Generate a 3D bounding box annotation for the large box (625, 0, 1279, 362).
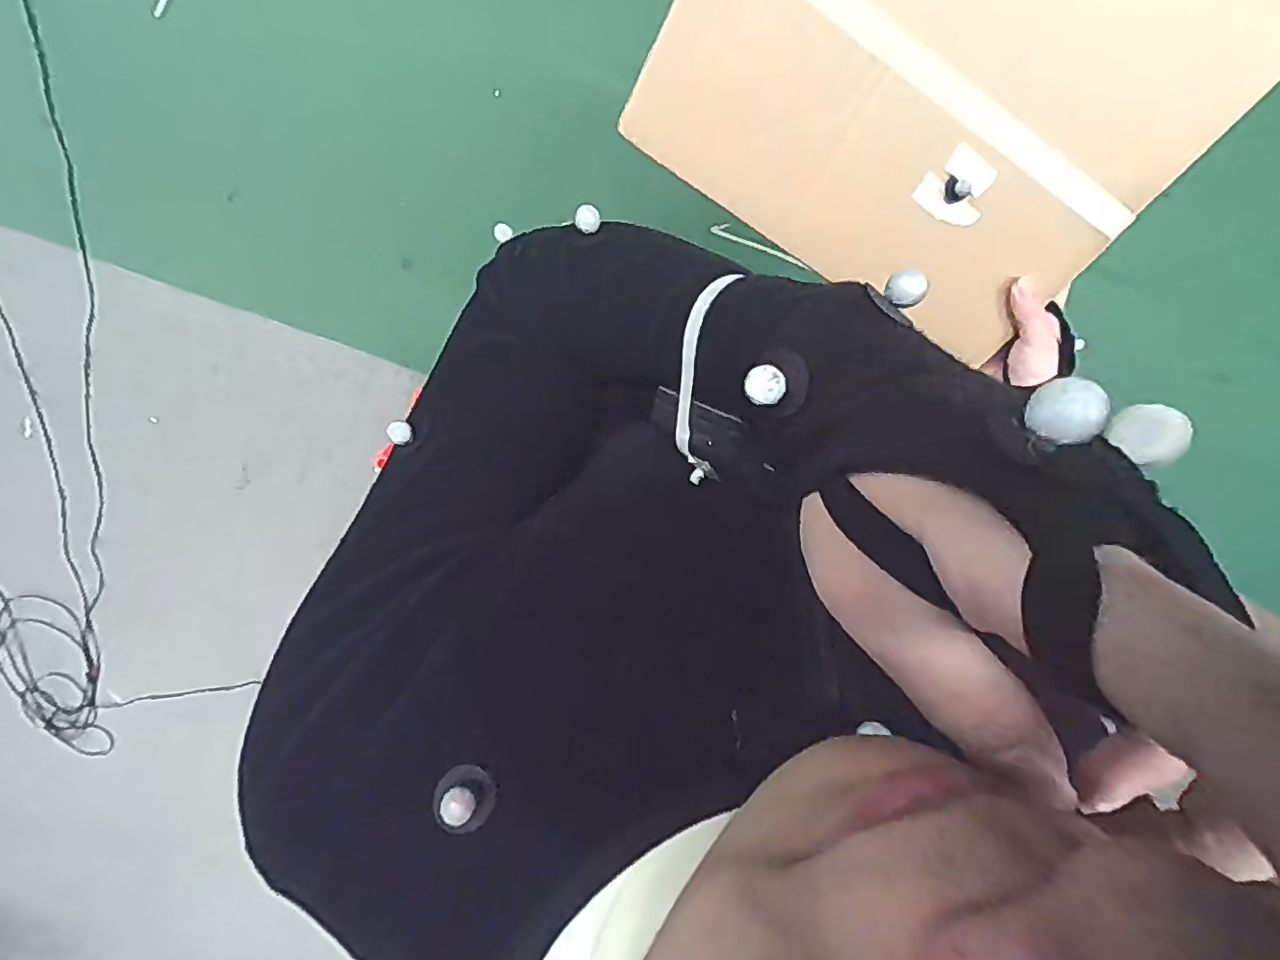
[{"bbox_3d":[0.245,-0.392,0.546,0.408,0.320,0.320,28,124,-10],"label":"large box"}]
